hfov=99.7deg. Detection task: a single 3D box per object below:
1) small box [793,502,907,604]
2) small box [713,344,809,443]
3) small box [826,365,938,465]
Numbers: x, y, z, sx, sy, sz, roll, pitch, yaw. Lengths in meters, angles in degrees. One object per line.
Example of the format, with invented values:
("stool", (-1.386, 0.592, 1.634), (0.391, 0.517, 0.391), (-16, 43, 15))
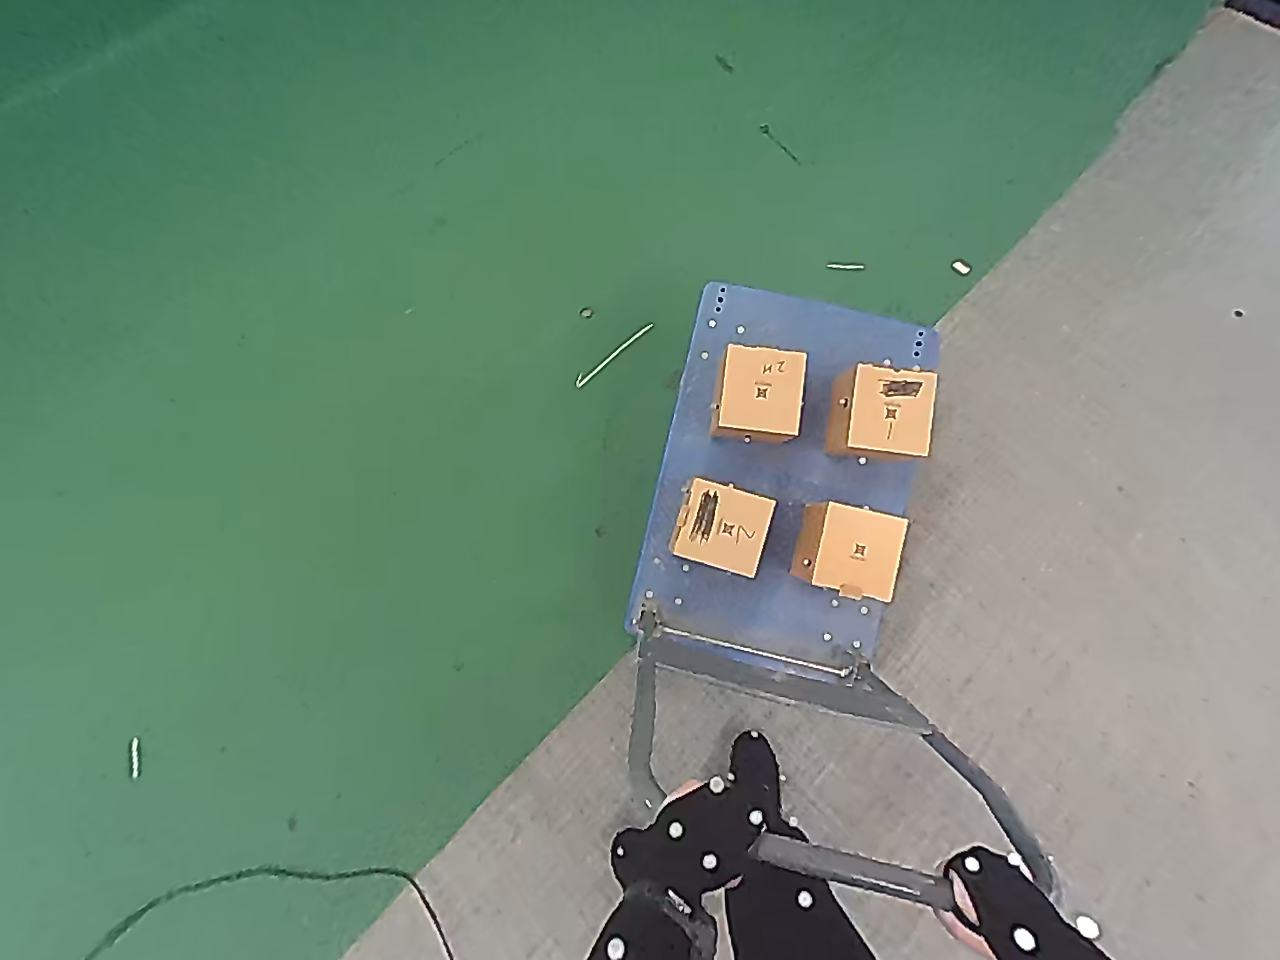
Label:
("small box", (0.446, 0.150, 1.175), (0.168, 0.176, 0.179), (14, 88, 2))
("small box", (0.259, -0.182, 1.194), (0.168, 0.176, 0.179), (8, 87, 0))
("small box", (0.522, -0.136, 1.187), (0.168, 0.176, 0.179), (9, 88, 2))
